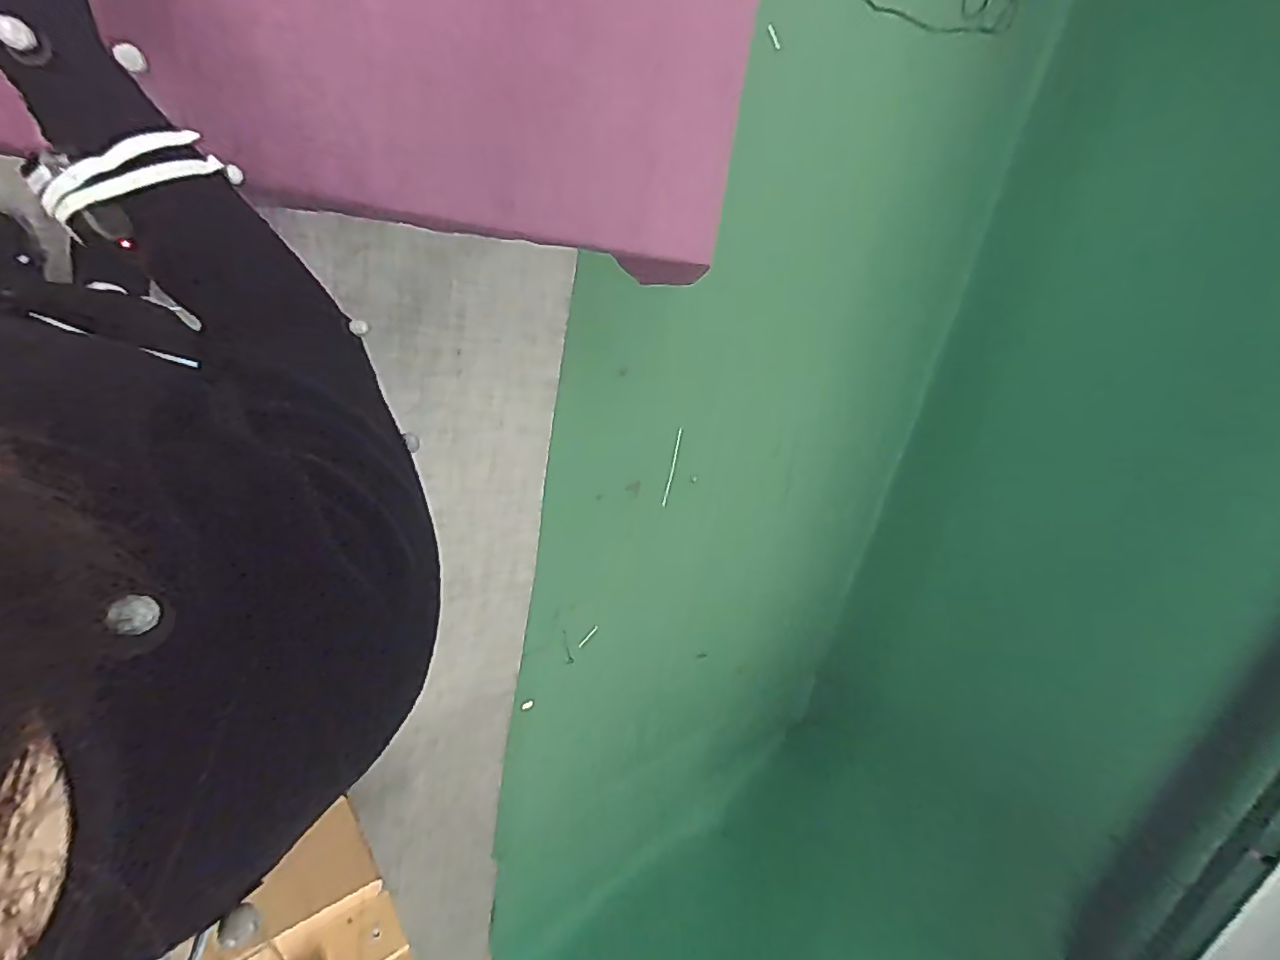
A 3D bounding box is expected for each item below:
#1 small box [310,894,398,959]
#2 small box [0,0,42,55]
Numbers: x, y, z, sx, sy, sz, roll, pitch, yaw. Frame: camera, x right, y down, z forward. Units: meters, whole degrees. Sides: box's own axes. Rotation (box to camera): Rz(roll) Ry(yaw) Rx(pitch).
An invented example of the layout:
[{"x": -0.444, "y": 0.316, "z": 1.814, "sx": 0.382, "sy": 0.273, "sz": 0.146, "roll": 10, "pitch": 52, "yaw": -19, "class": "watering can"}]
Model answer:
[{"x": -0.755, "y": 1.242, "z": 1.420, "sx": 0.168, "sy": 0.176, "sz": 0.179, "roll": -6, "pitch": 117, "yaw": -43, "class": "small box"}, {"x": -0.497, "y": -0.391, "z": 0.322, "sx": 0.168, "sy": 0.176, "sz": 0.179, "roll": -10, "pitch": 119, "yaw": -42, "class": "small box"}]
